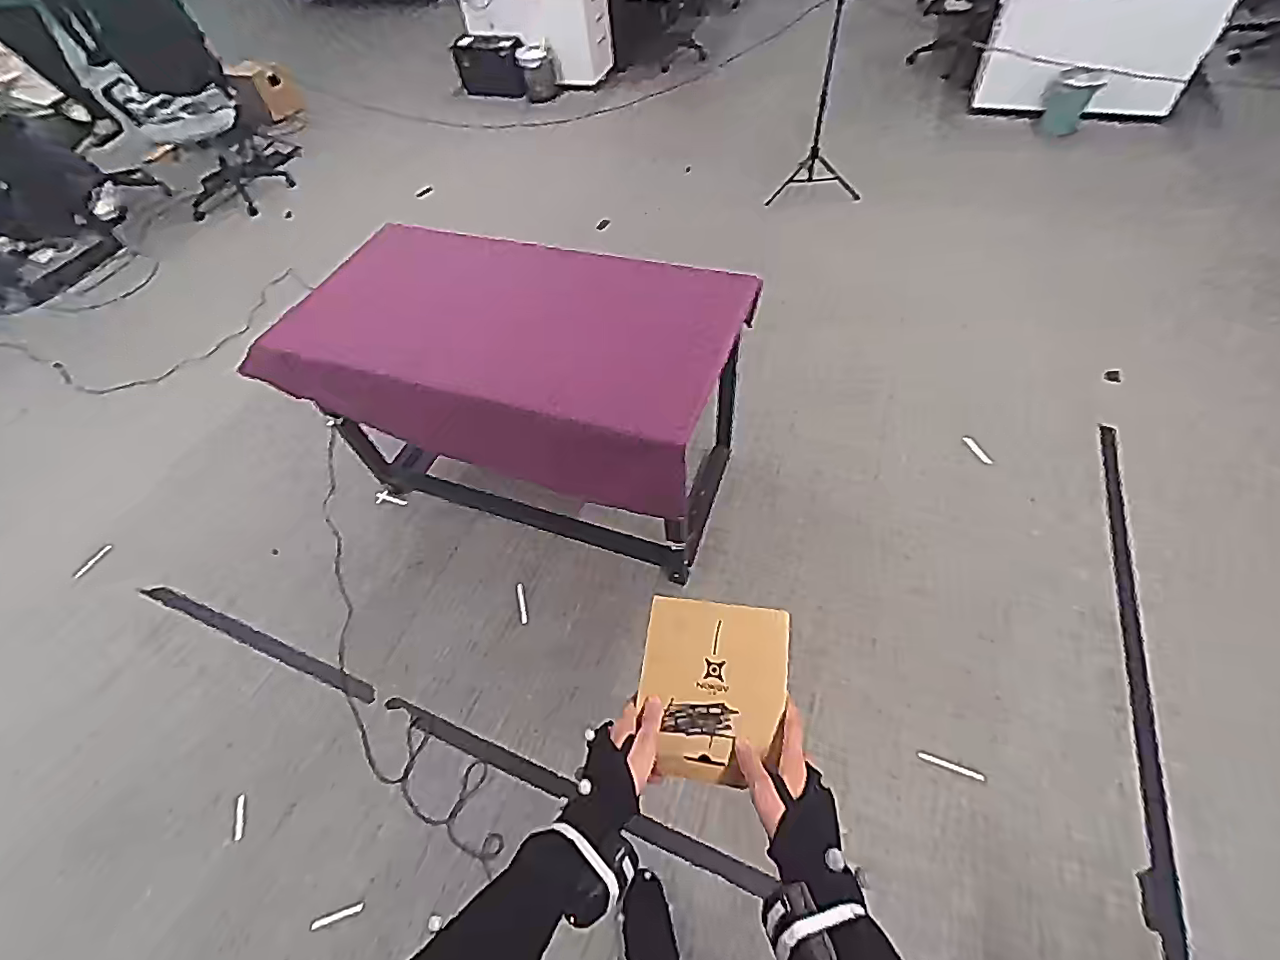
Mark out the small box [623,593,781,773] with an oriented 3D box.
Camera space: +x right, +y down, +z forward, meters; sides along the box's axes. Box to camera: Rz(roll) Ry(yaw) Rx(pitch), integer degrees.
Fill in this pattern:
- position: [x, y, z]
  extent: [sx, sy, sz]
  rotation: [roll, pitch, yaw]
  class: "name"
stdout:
- position: [0.086, 0.260, 0.684]
  extent: [0.168, 0.176, 0.179]
  rotation: [4, 60, 12]
  class: "small box"
